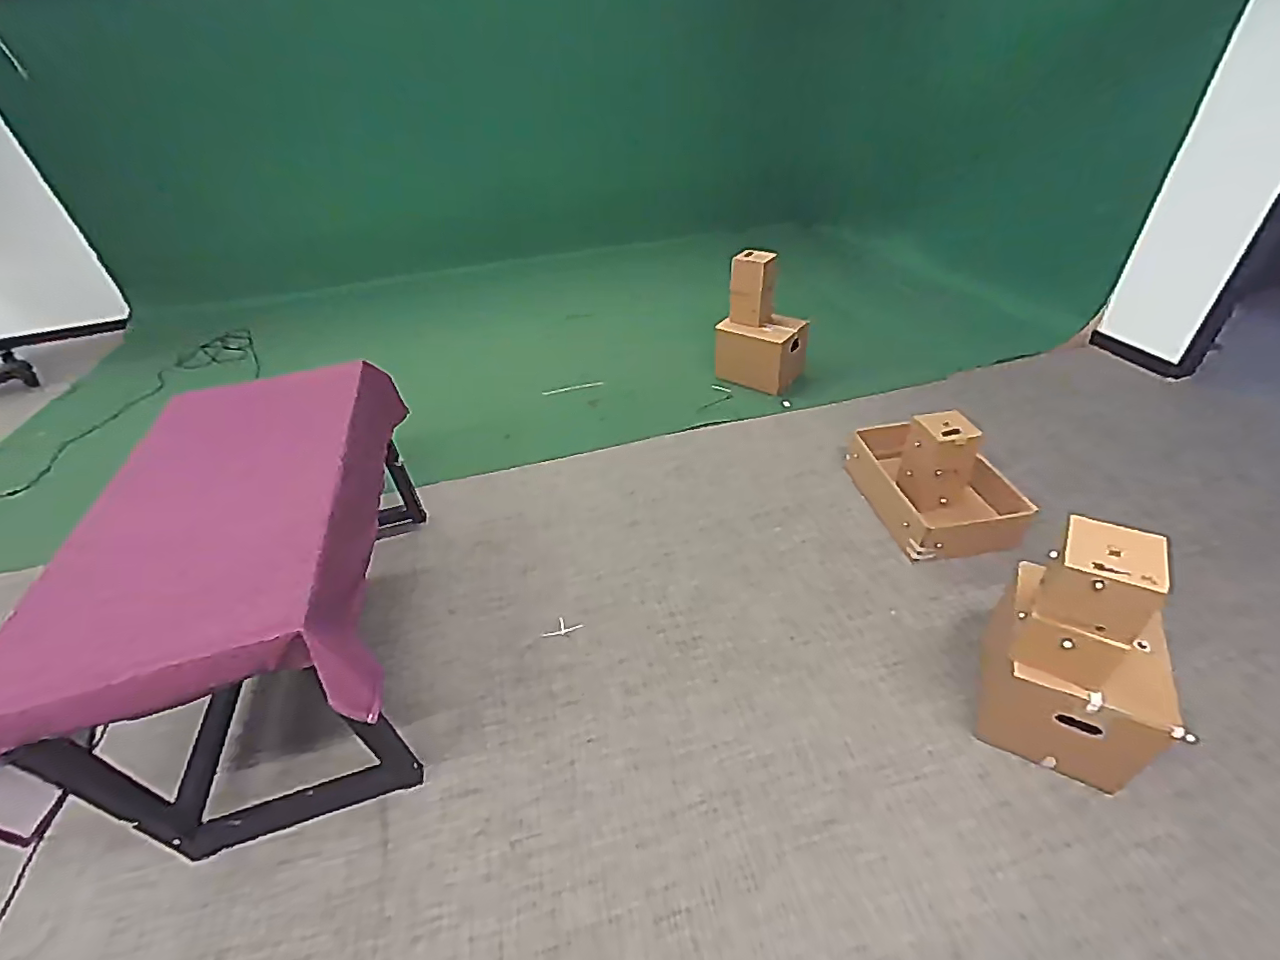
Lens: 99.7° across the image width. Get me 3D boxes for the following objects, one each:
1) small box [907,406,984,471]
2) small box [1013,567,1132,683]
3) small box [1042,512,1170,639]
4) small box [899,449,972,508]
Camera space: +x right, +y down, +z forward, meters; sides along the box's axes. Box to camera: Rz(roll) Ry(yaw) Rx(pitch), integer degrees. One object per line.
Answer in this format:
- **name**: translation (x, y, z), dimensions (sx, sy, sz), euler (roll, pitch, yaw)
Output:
- **small box**: translation (1.113, -0.146, 1.982), dimensions (0.168, 0.176, 0.179), euler (-8, 38, -2)
- **small box**: translation (1.005, 0.338, 1.255), dimensions (0.179, 0.176, 0.168), euler (21, 47, 34)
- **small box**: translation (0.993, 0.203, 1.161), dimensions (0.168, 0.176, 0.179), euler (17, 44, 32)
- **small box**: translation (1.130, -0.018, 2.084), dimensions (0.168, 0.176, 0.179), euler (-9, 39, -2)
